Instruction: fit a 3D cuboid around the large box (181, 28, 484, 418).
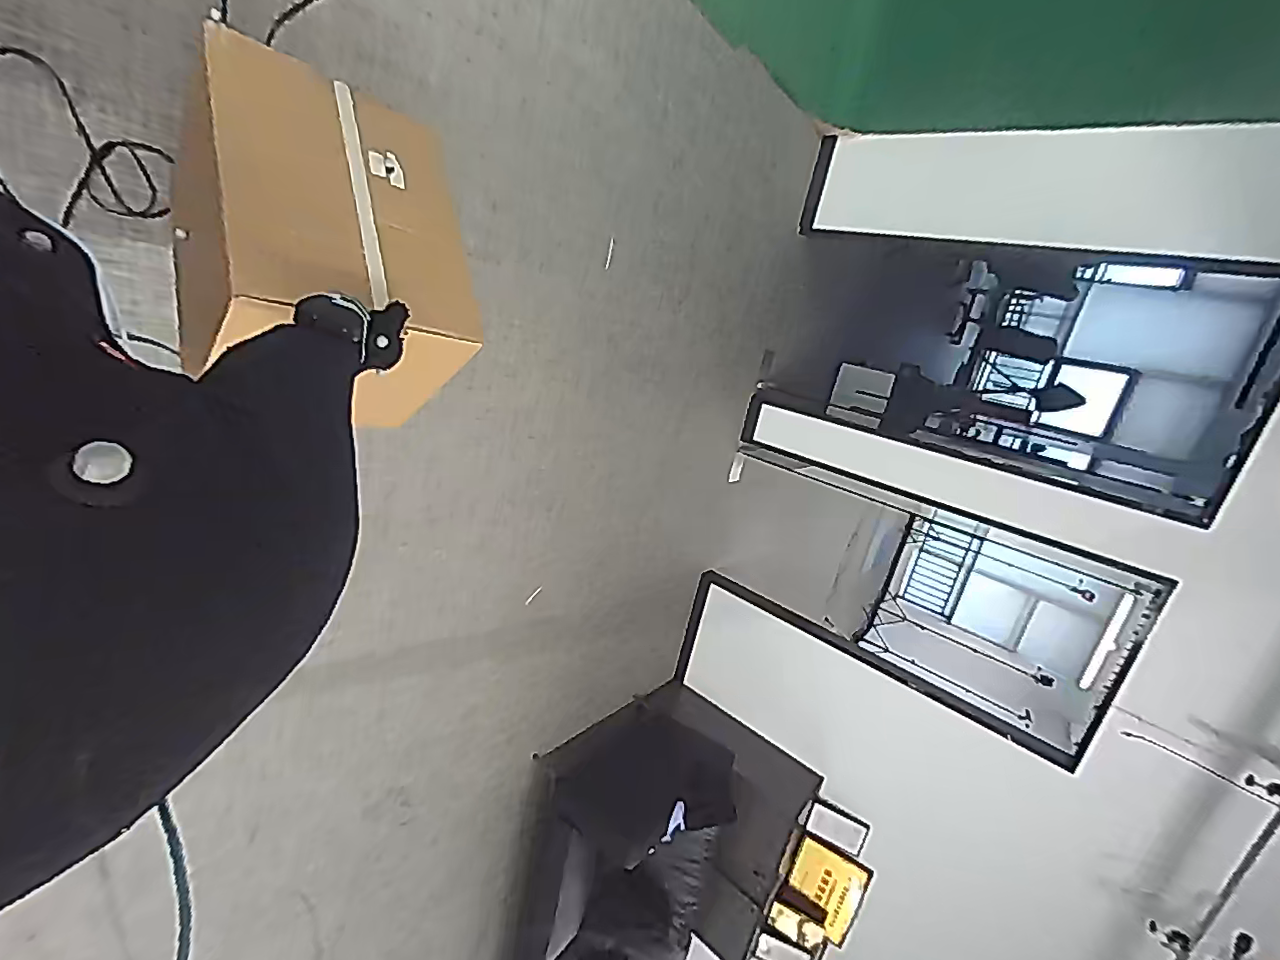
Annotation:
[{"bbox_3d":[-0.494,-0.343,0.851,0.320,0.320,0.408,-1,70,-48],"label":"large box"}]
